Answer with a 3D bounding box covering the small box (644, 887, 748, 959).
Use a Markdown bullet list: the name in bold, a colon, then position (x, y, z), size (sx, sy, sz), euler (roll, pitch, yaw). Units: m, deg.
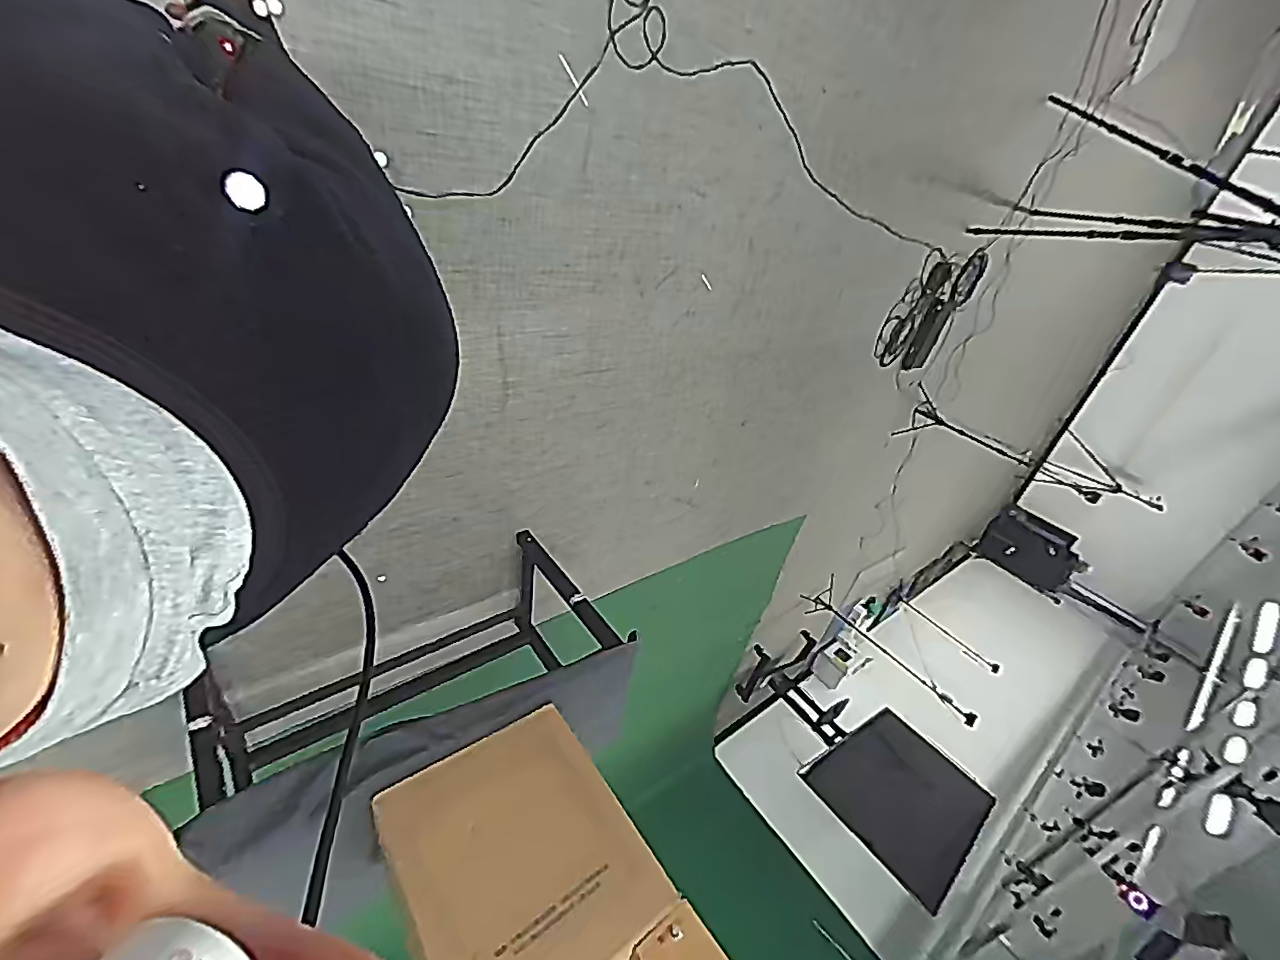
- **small box**: position (0.127, 1.137, 1.302), size (0.168, 0.176, 0.179), euler (-22, 134, -36)
